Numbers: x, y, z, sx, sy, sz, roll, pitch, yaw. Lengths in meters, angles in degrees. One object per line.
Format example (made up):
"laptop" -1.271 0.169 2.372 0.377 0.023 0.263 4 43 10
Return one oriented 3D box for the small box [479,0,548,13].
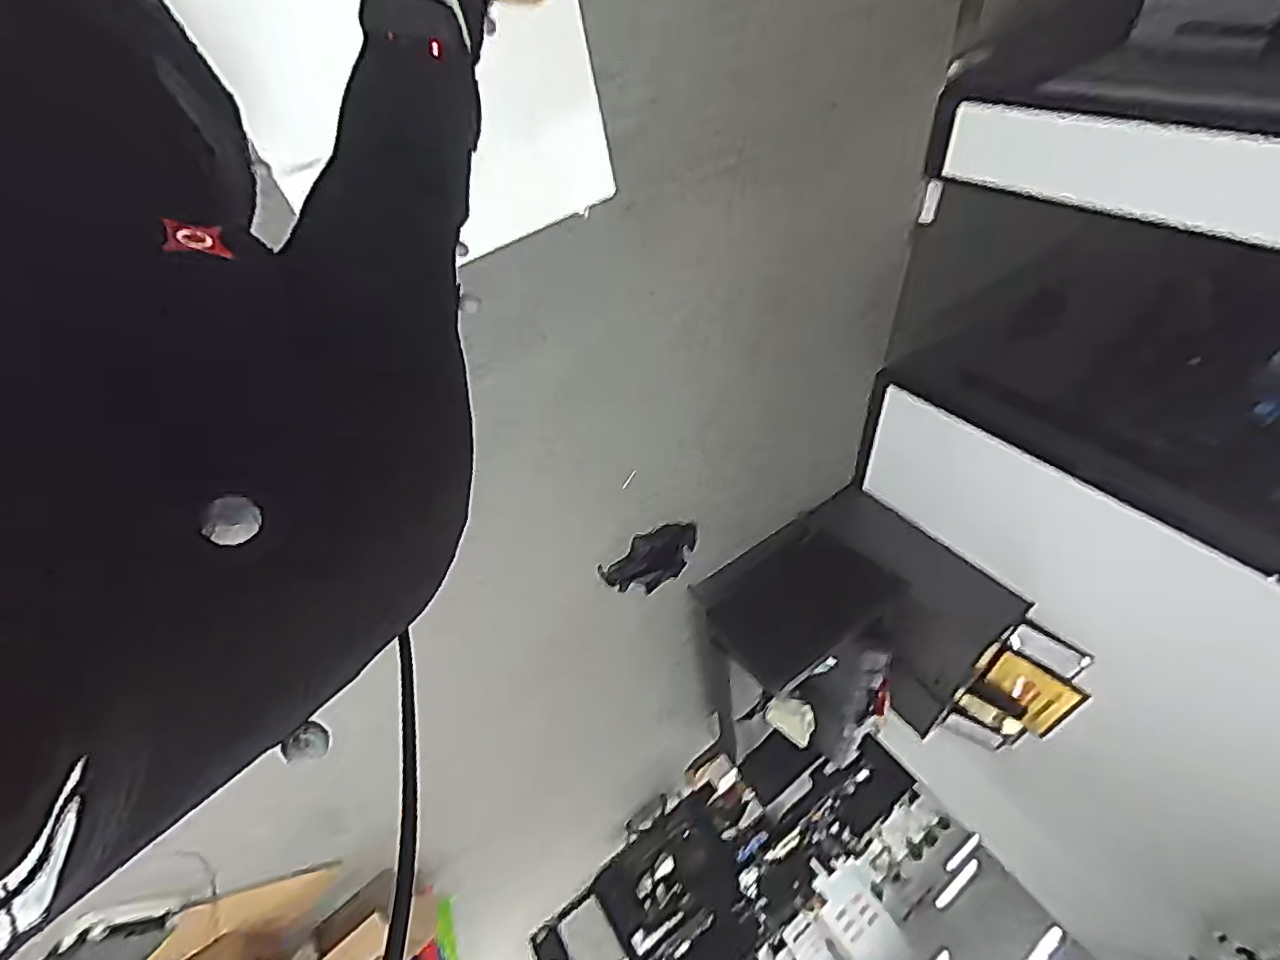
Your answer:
"small box" -0.109 -0.552 0.466 0.179 0.176 0.168 -42 144 -2
